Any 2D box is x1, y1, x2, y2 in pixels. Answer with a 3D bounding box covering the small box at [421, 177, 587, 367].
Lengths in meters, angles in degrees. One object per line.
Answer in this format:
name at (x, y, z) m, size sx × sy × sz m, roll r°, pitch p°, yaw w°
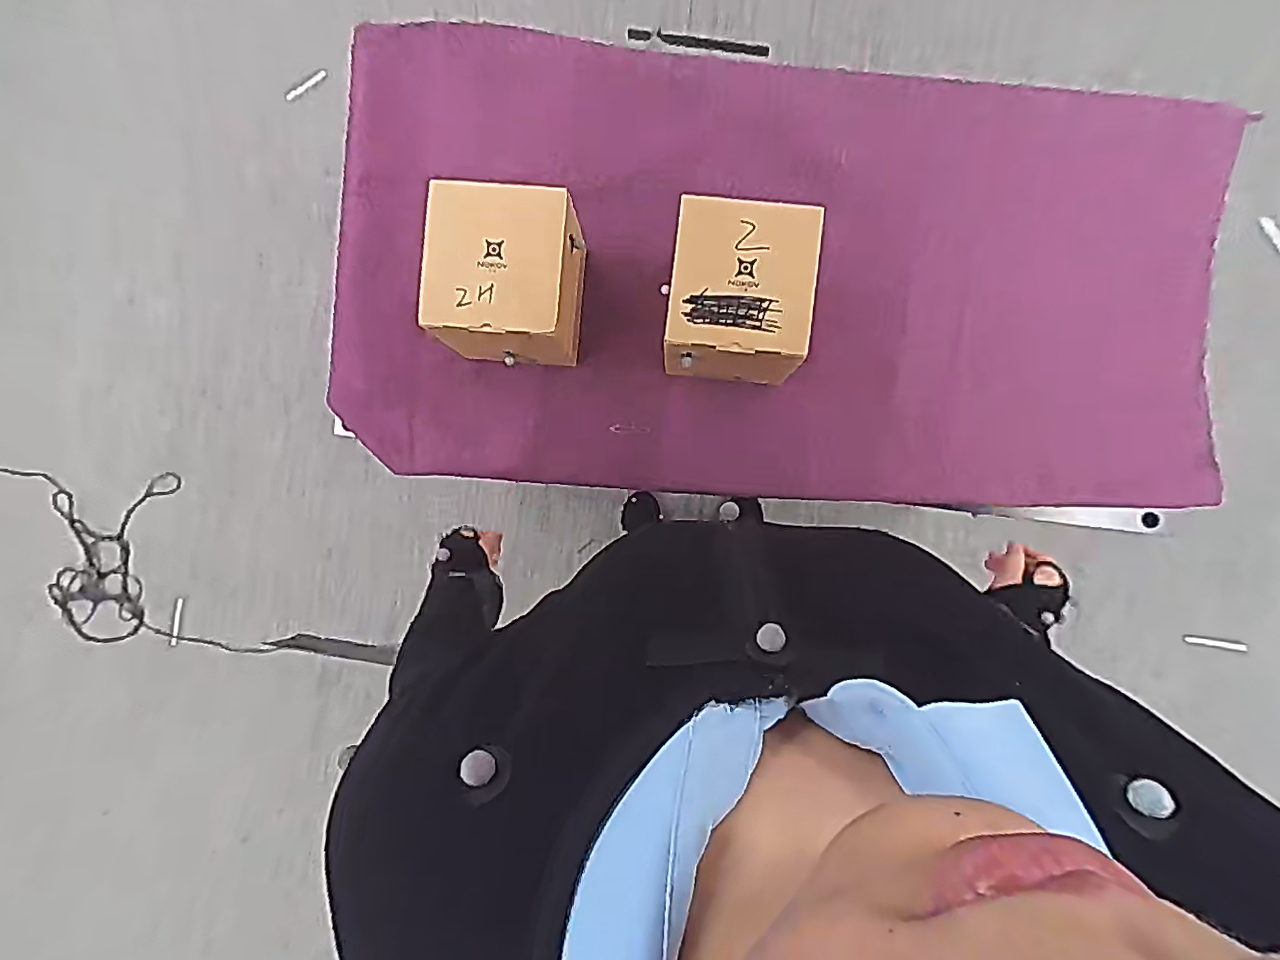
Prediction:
small box at (-0.164, -0.258, 0.704) m, size 0.168 × 0.176 × 0.179 m, roll 5°, pitch 90°, yaw 2°
